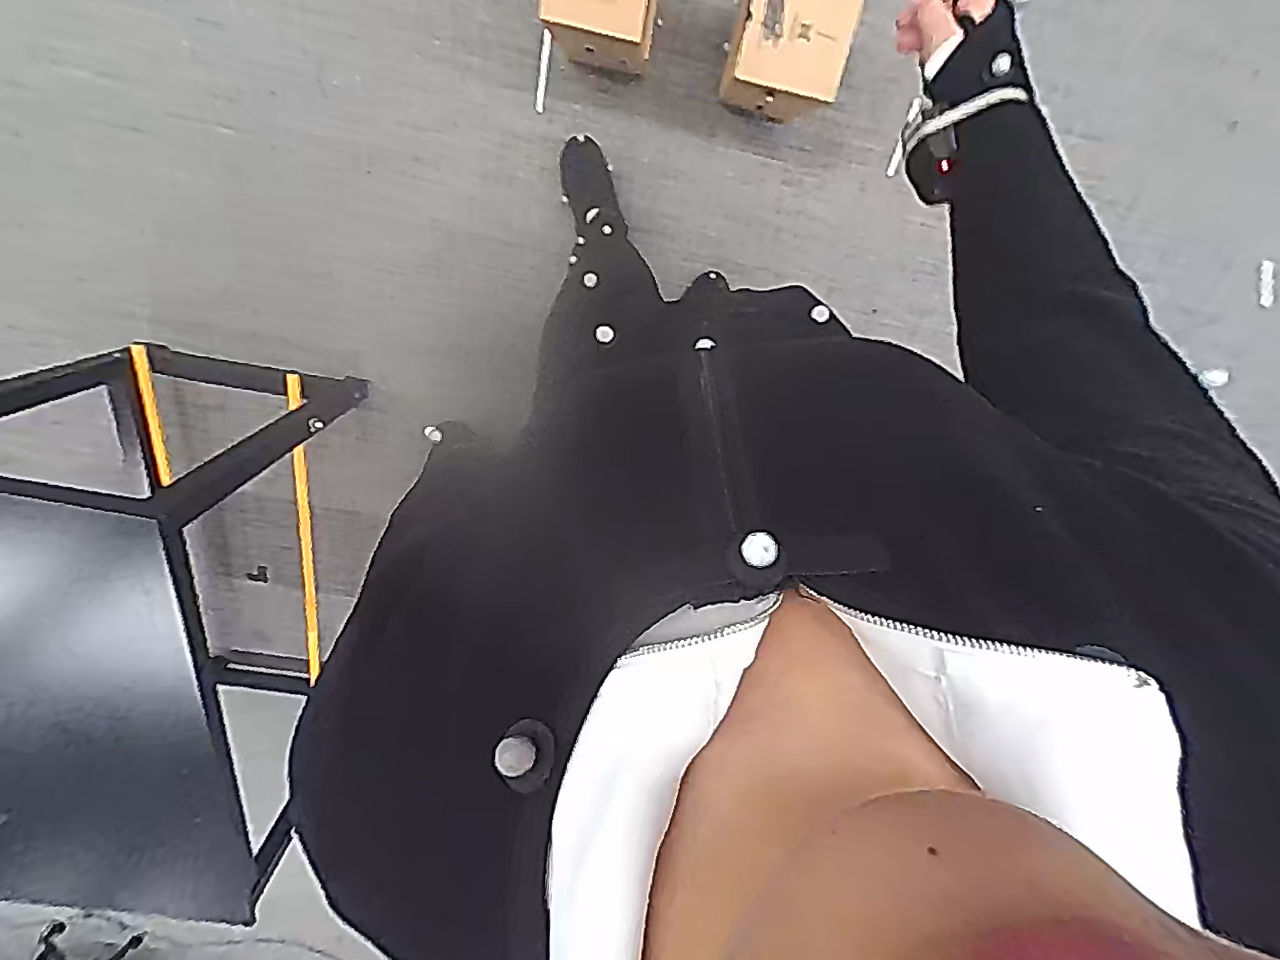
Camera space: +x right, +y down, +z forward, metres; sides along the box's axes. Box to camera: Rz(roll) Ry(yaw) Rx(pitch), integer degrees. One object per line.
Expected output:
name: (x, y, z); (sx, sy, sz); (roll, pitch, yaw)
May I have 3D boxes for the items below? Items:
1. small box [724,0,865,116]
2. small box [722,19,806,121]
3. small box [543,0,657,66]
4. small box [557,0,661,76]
small box: (0.254, -0.749, 0.931); (0.179, 0.176, 0.168); (10, 117, -6)
small box: (0.267, -0.837, 1.072); (0.168, 0.176, 0.179); (12, 118, -7)
small box: (-0.057, -0.823, 0.894); (0.168, 0.176, 0.179); (11, 118, -3)
small box: (-0.053, -0.901, 1.037); (0.179, 0.176, 0.168); (9, 117, -4)
